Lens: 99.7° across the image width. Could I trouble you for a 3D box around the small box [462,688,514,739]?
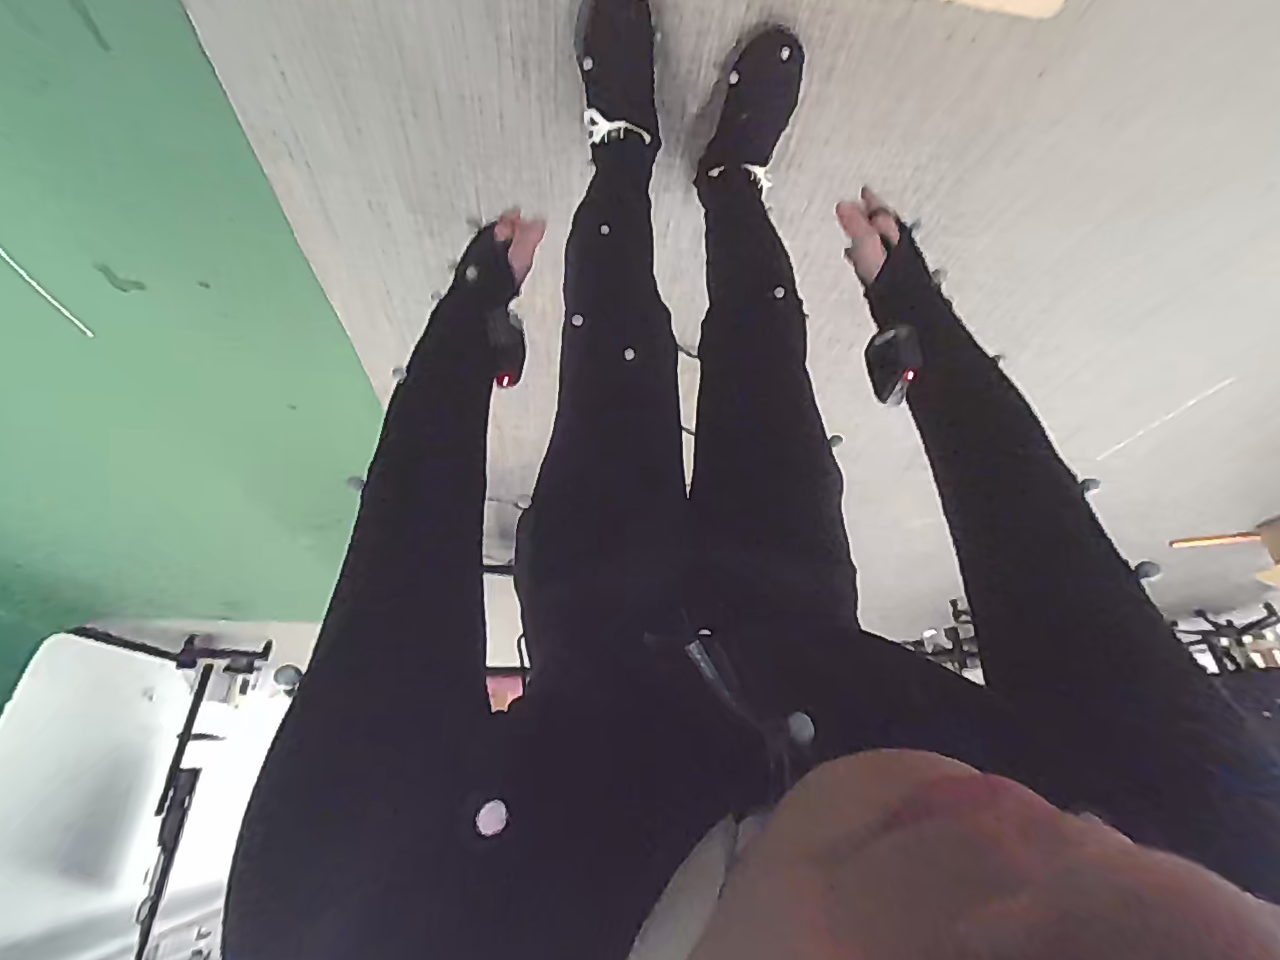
[{"bbox_3d":[-0.583,0.907,2.091,0.168,0.176,0.179,3,152,-8],"label":"small box"}]
